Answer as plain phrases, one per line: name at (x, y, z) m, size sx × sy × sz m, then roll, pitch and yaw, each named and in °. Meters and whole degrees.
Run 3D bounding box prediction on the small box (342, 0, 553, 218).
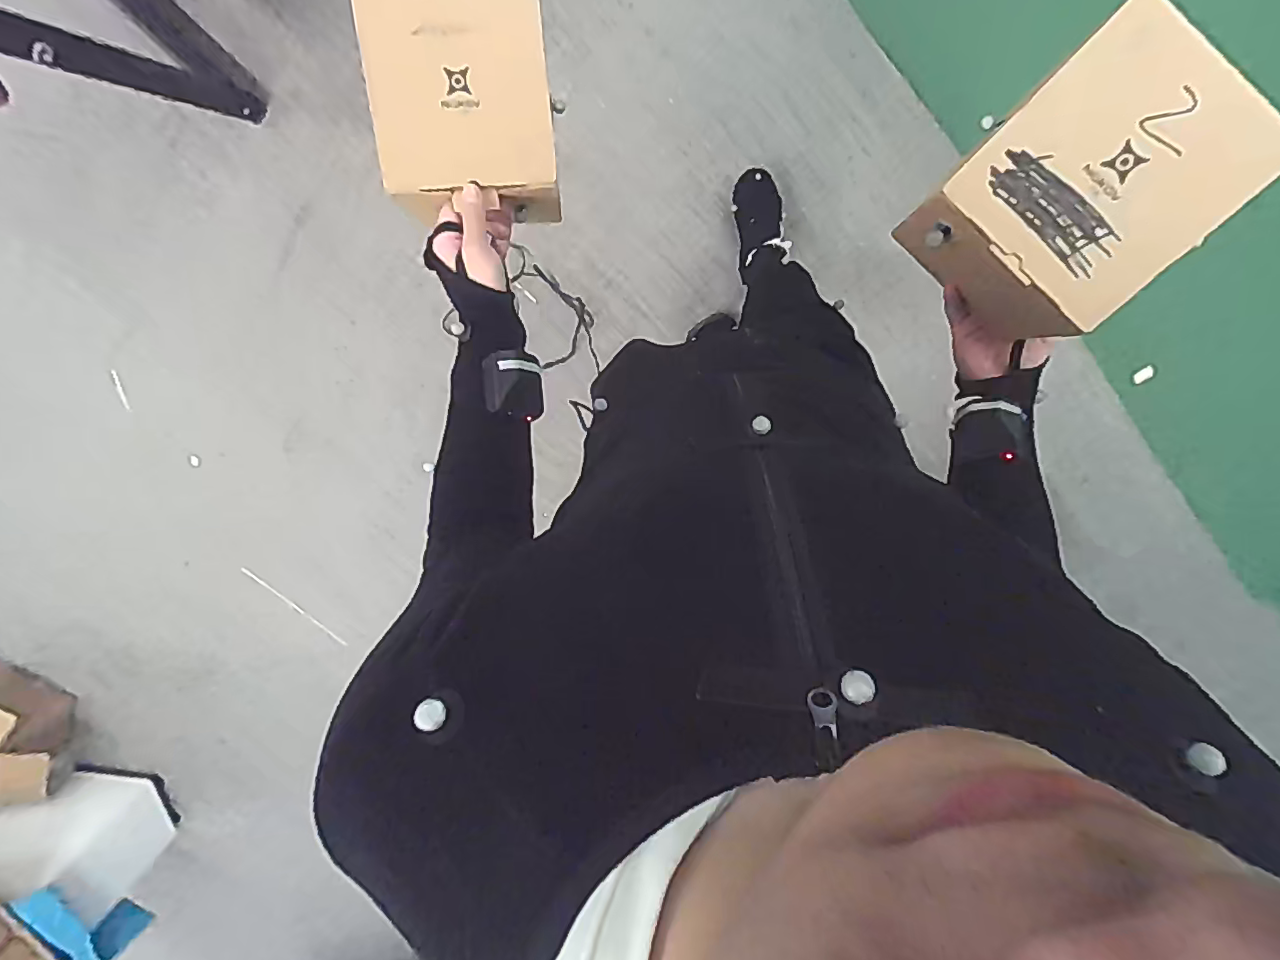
small box at (-0.184, -0.386, 0.570) m, size 0.168 × 0.176 × 0.179 m, roll -6°, pitch 104°, yaw -6°
